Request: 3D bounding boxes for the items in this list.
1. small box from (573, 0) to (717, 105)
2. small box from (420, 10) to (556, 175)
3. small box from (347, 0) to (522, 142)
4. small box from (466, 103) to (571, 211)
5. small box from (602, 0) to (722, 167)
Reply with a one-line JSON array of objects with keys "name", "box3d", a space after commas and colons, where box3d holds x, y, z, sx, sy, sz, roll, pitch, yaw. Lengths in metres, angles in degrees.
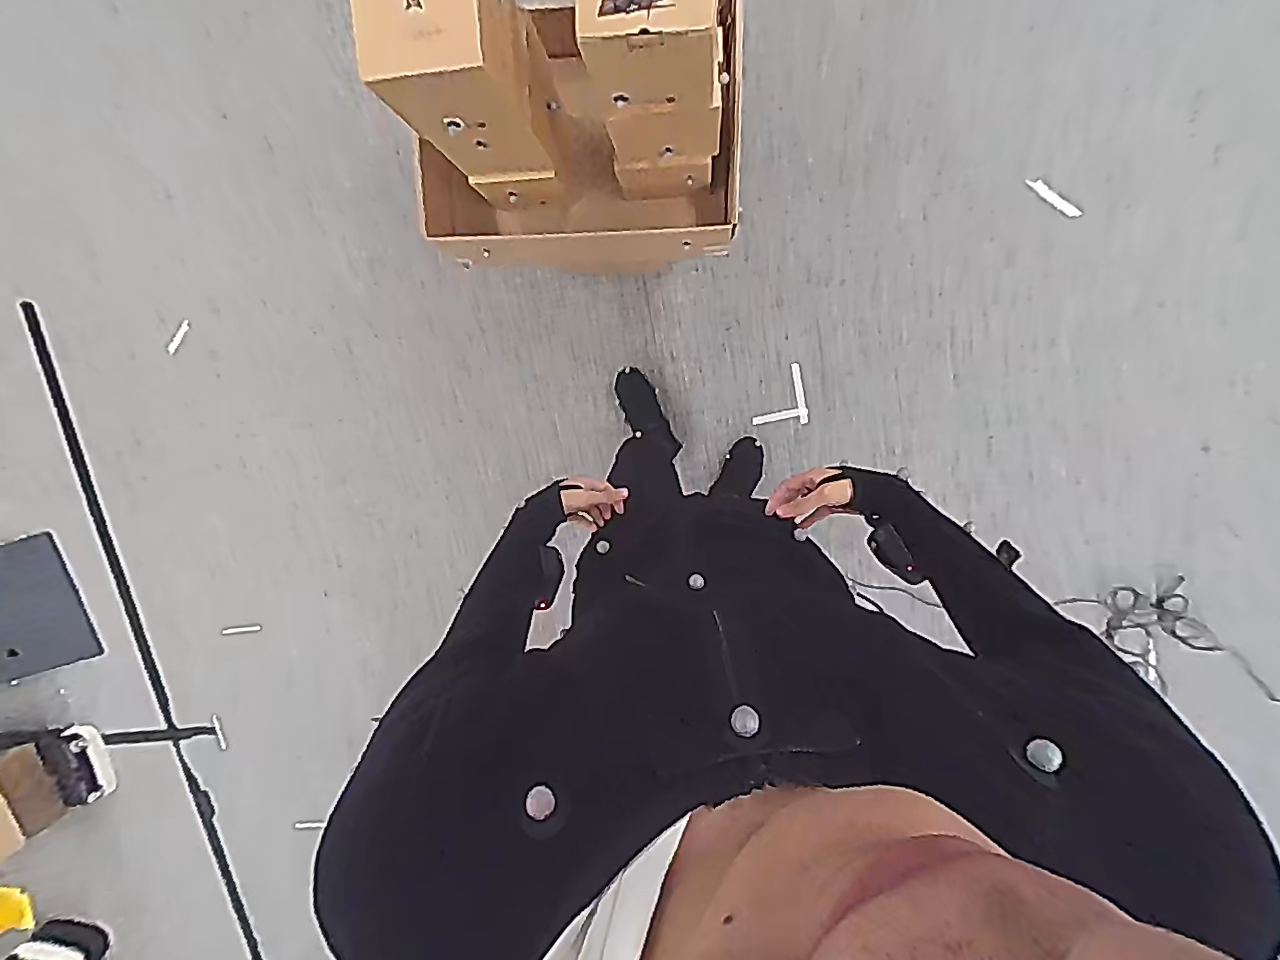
[{"name": "small box", "box3d": [0.015, -0.610, 0.692, 0.168, 0.176, 0.179, 2, 99, 6]}, {"name": "small box", "box3d": [-0.246, -0.622, 0.892, 0.179, 0.176, 0.168, 0, 99, 5]}, {"name": "small box", "box3d": [-0.268, -0.596, 0.731, 0.168, 0.176, 0.179, -2, 98, 7]}, {"name": "small box", "box3d": [-0.233, -0.641, 1.055, 0.168, 0.176, 0.179, -1, 99, 5]}, {"name": "small box", "box3d": [0.034, -0.621, 0.856, 0.179, 0.176, 0.168, -3, 100, 6]}]
